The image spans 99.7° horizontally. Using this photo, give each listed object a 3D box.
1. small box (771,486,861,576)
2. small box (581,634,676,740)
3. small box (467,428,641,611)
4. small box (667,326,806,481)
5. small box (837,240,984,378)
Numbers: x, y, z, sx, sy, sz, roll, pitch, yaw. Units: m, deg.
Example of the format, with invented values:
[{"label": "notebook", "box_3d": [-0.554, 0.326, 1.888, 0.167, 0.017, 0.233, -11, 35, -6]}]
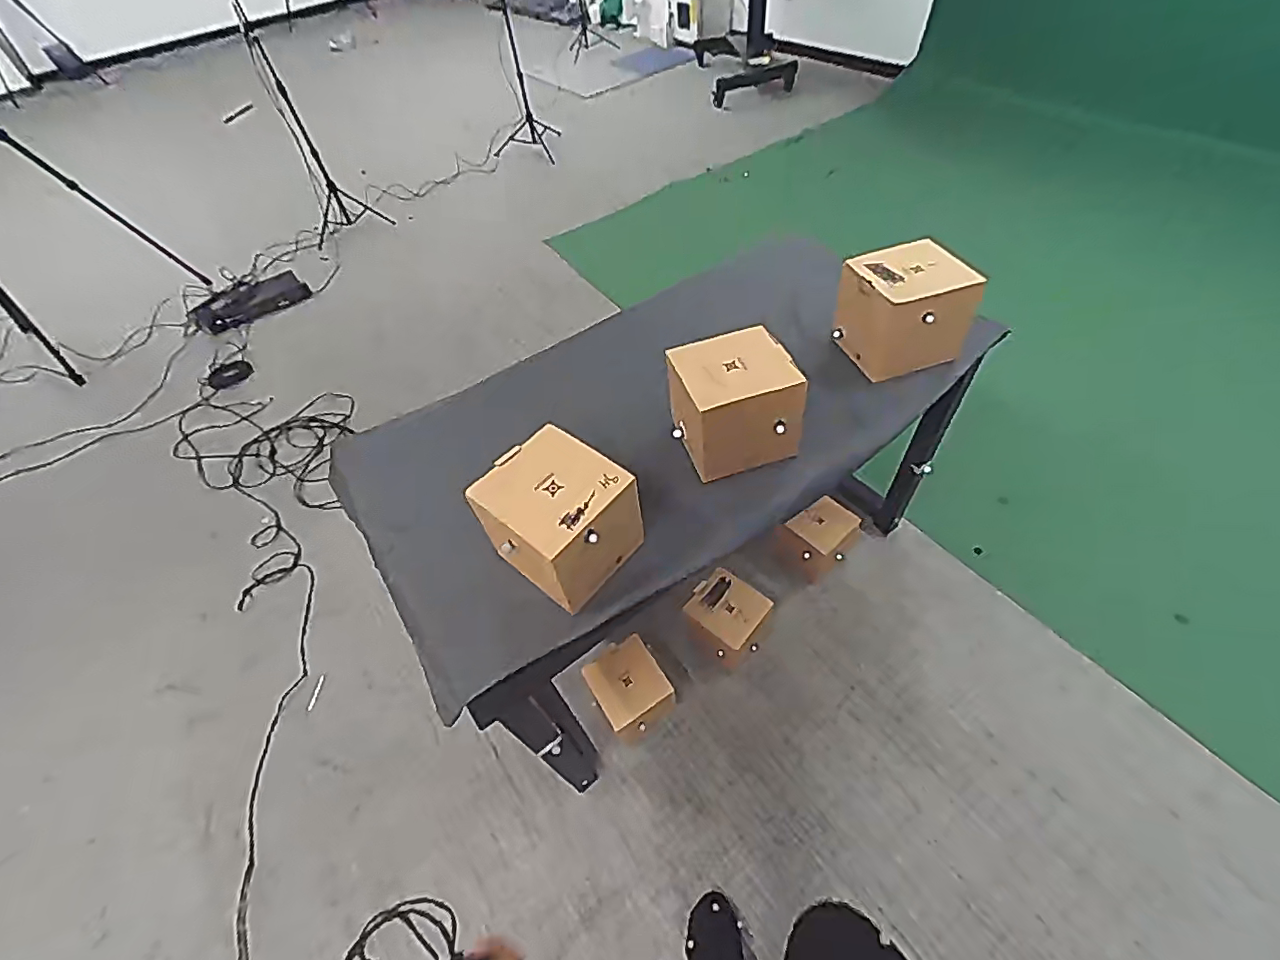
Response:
[{"label": "small box", "box_3d": [0.505, 0.156, 1.574, 0.168, 0.176, 0.179, -37, 57, -21]}, {"label": "small box", "box_3d": [-0.023, 0.526, 1.355, 0.168, 0.176, 0.179, -30, 55, -16]}, {"label": "small box", "box_3d": [-0.117, 0.061, 0.797, 0.179, 0.176, 0.168, 32, 62, 27]}, {"label": "small box", "box_3d": [0.155, -0.125, 0.910, 0.179, 0.176, 0.168, -17, 50, -5]}, {"label": "small box", "box_3d": [0.487, -0.315, 1.012, 0.179, 0.176, 0.168, -17, 50, -5]}]
